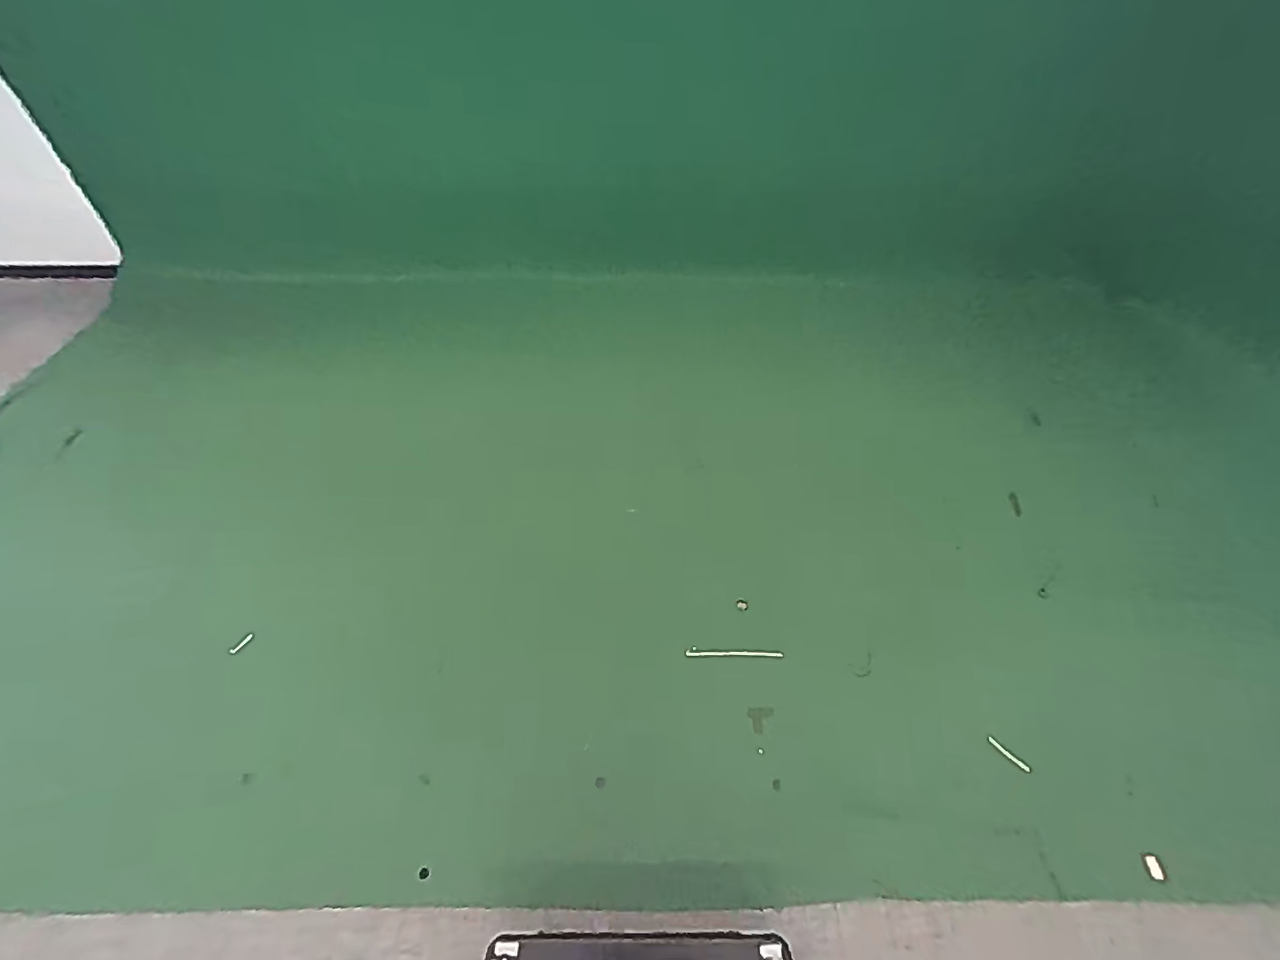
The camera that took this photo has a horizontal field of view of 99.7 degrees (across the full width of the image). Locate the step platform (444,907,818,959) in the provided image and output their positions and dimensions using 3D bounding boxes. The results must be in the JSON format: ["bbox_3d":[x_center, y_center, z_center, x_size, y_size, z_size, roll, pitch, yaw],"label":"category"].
[{"bbox_3d":[-0.015,0.972,0.988,0.684,0.204,0.286,-1,49,-1],"label":"step platform"}]
